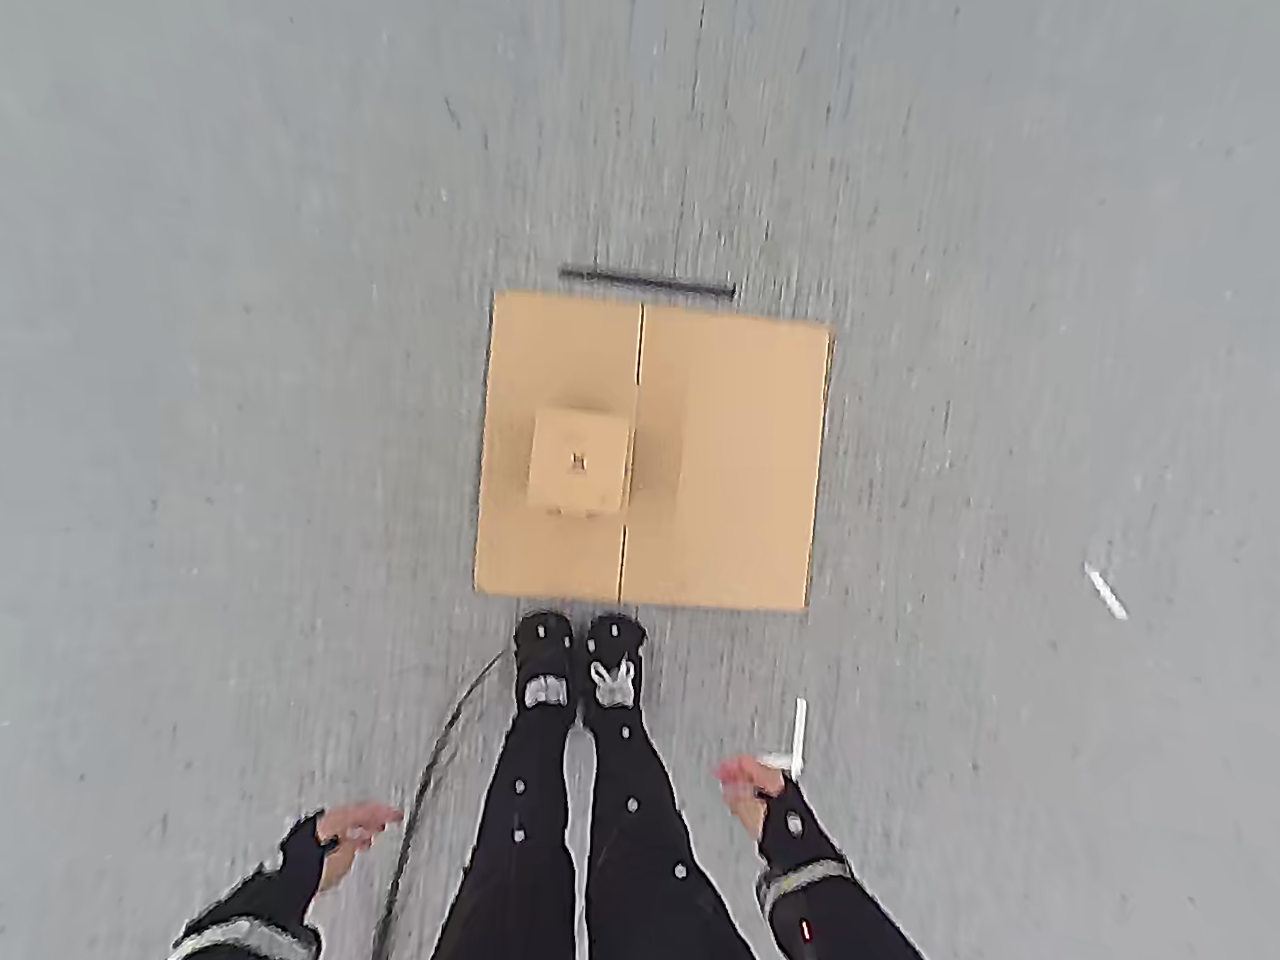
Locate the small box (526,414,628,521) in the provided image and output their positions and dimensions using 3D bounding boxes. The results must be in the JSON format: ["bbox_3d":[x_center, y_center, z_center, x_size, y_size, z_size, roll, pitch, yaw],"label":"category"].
[{"bbox_3d":[-0.118,-0.023,1.024,0.168,0.176,0.179,5,91,-8],"label":"small box"}]
